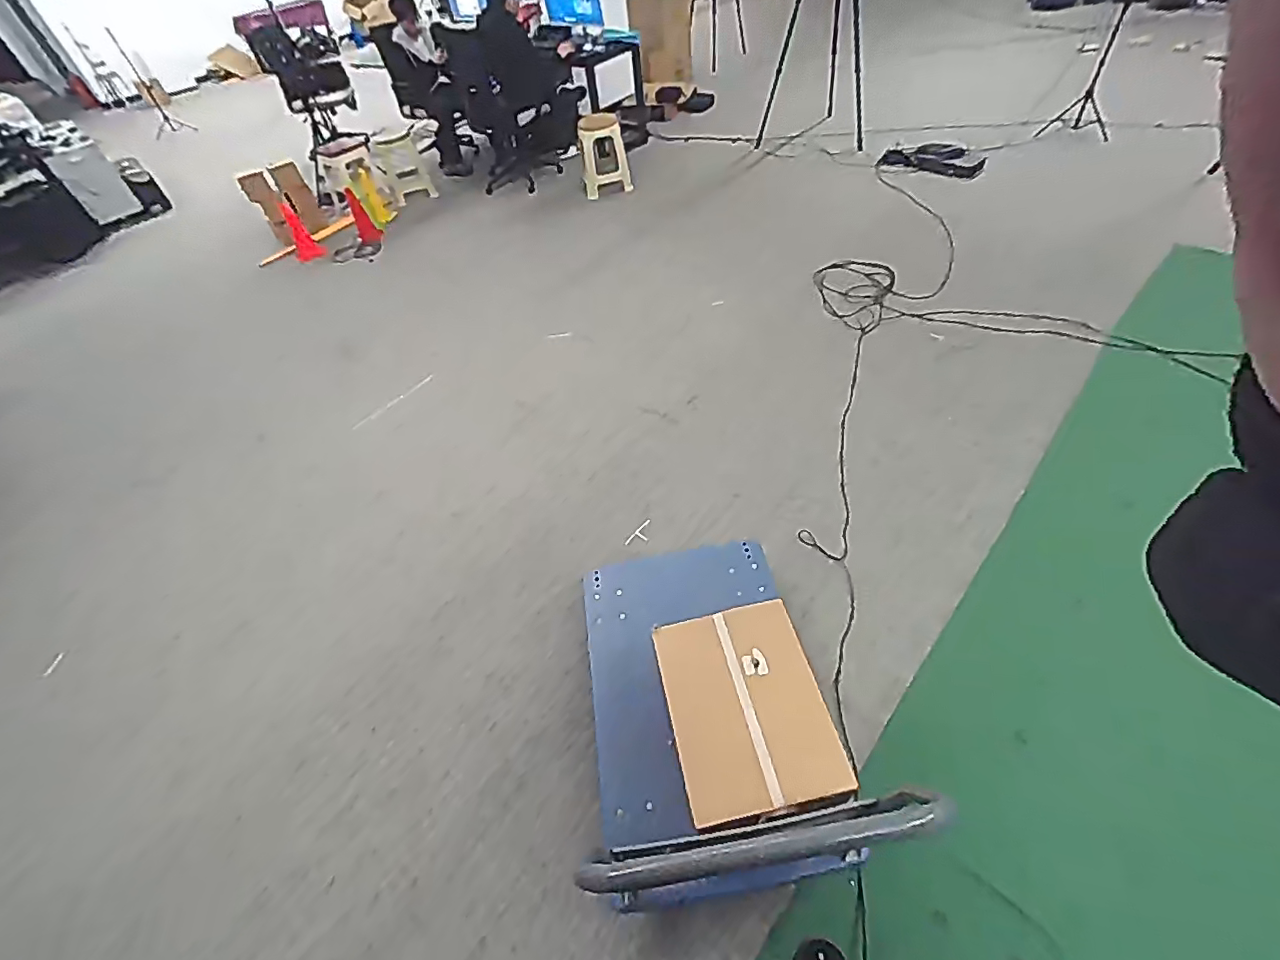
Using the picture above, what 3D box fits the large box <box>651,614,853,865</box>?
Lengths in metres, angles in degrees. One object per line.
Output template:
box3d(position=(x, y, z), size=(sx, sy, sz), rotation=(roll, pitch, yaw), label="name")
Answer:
box3d(position=(0.231, 0.587, 1.237), size=(0.320, 0.320, 0.408), rotation=(-12, 47, -3), label="large box")
